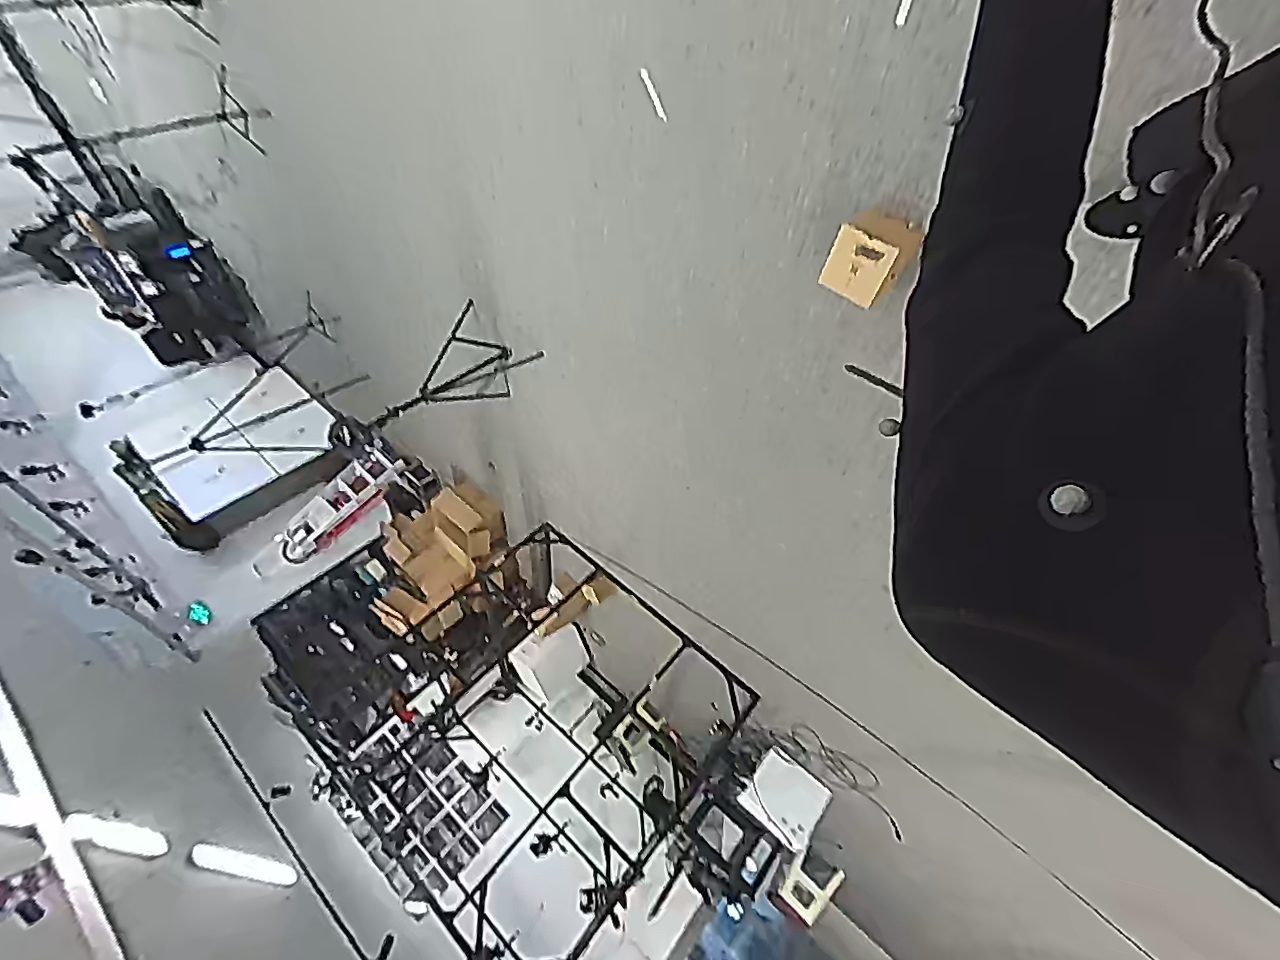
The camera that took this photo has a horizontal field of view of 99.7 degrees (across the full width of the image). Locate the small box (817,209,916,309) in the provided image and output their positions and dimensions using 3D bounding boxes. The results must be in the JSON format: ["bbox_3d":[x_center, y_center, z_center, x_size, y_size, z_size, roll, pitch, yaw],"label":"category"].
[{"bbox_3d":[0.623,-0.611,1.480,0.168,0.176,0.179,38,147,19],"label":"small box"}]
